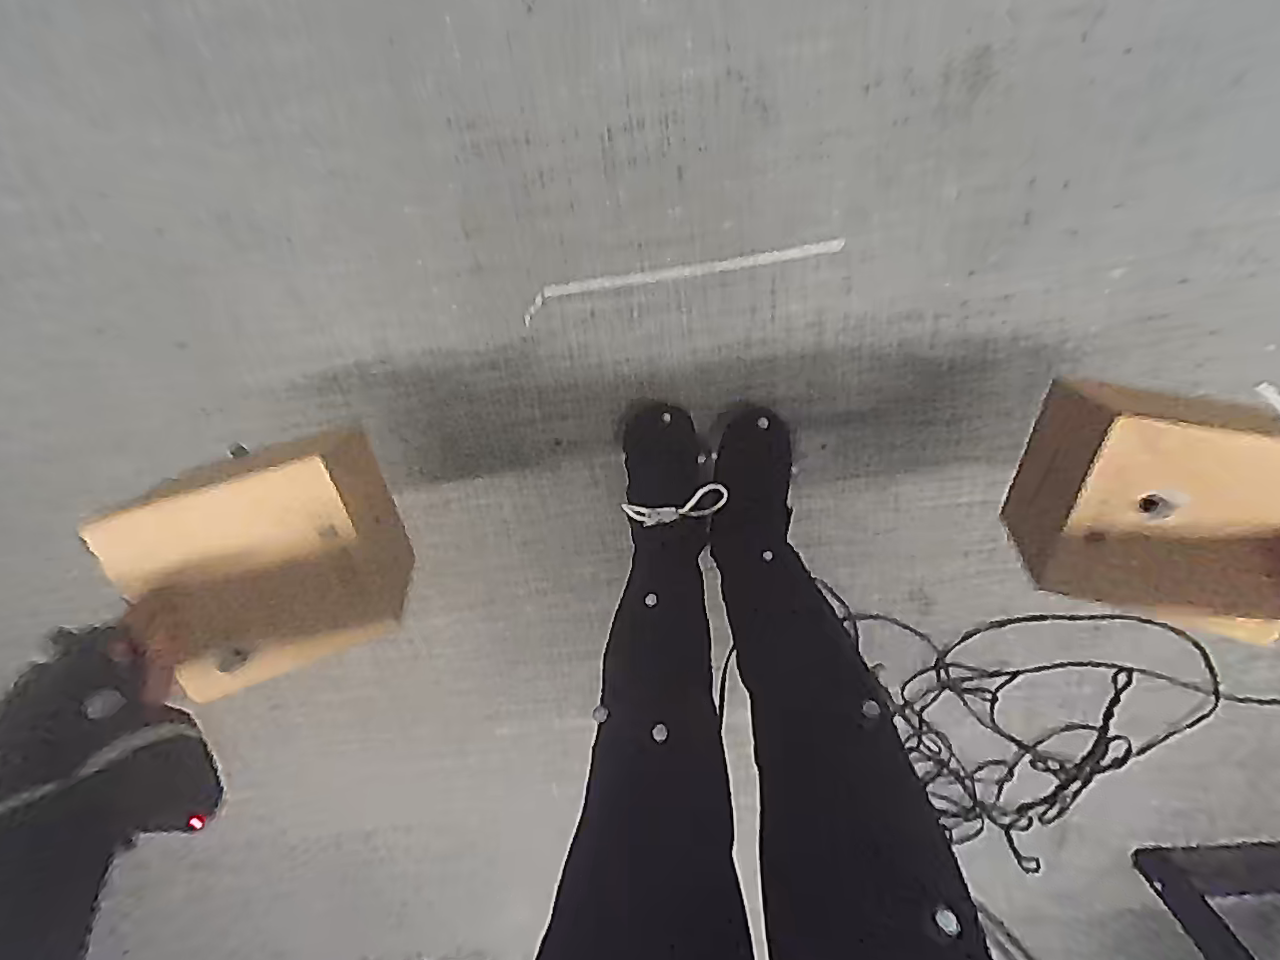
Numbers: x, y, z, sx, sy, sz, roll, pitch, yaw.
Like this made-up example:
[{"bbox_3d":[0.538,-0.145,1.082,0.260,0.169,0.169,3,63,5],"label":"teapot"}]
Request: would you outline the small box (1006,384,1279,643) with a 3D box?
[{"bbox_3d":[0.476,0.014,0.507,0.176,0.179,0.168,14,114,18],"label":"small box"}]
